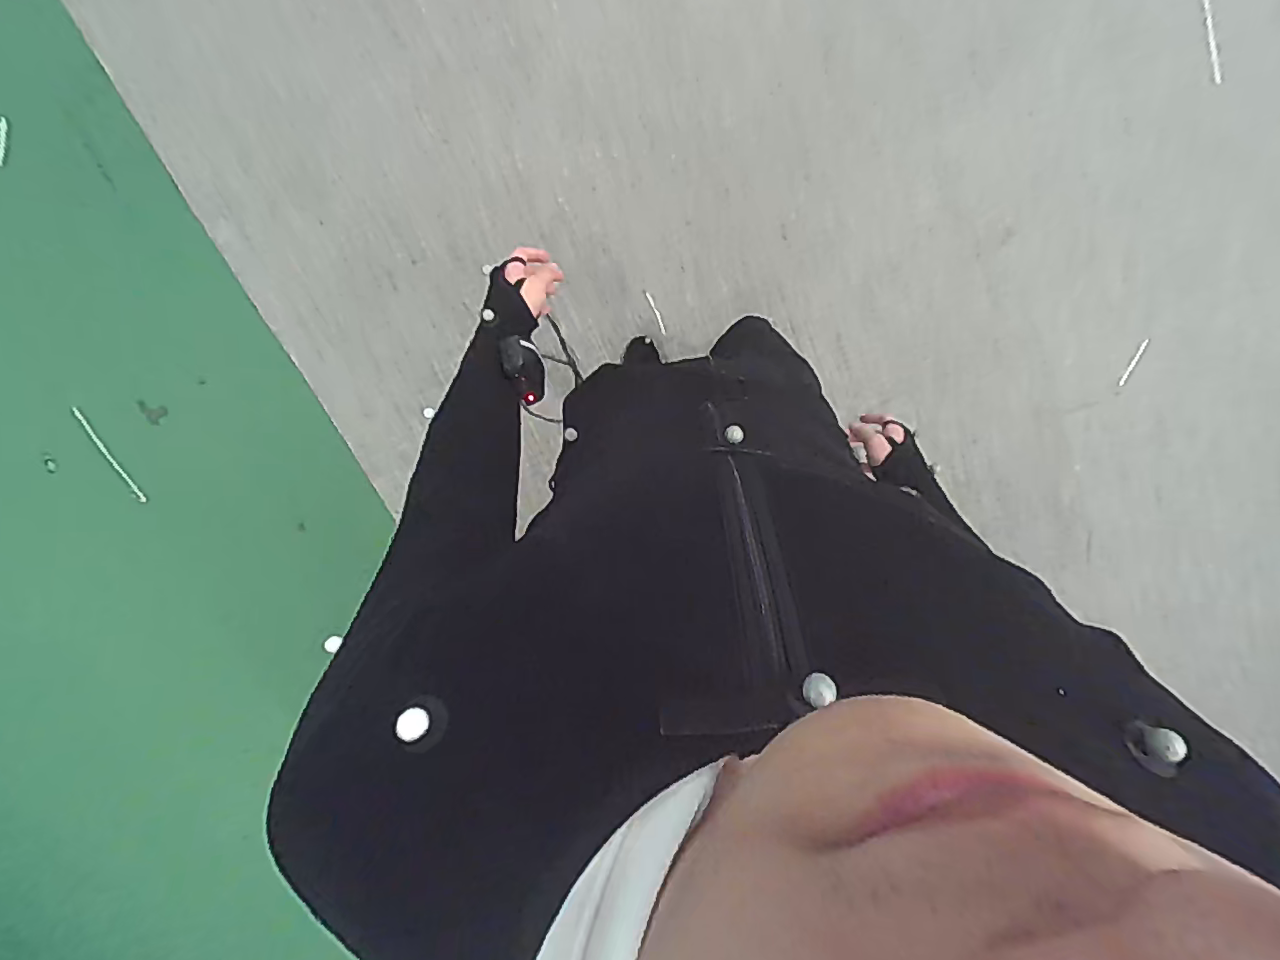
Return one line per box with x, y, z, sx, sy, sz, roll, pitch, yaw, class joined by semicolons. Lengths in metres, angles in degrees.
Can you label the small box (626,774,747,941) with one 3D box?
0.082;0.696;1.010;0.168;0.176;0.179;-23;106;5;small box
